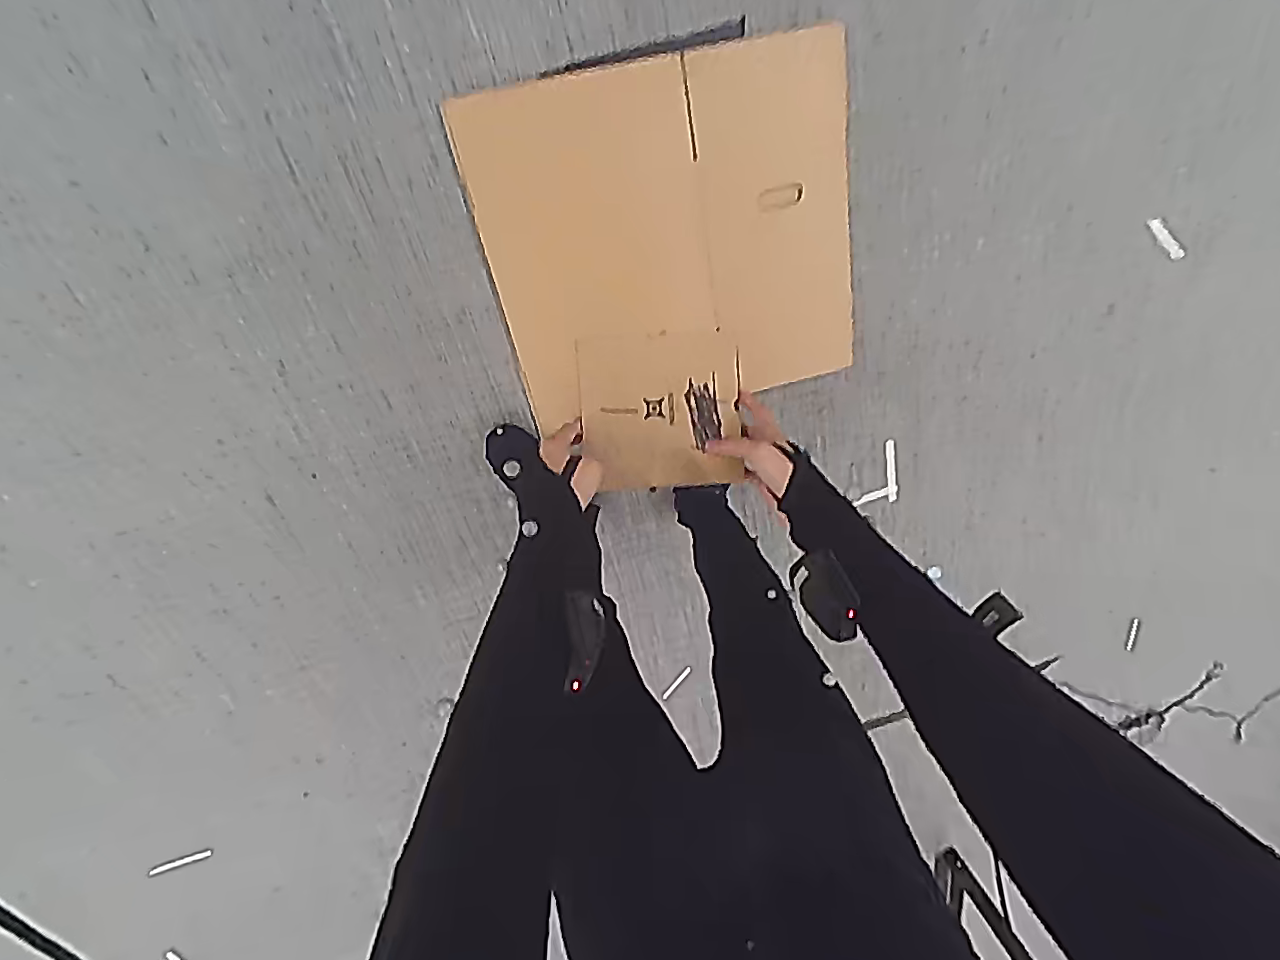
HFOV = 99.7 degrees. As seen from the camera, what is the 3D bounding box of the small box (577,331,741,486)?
[{"bbox_3d":[0.015,-0.080,0.666,0.179,0.176,0.168,-3,90,-4],"label":"small box"}]
